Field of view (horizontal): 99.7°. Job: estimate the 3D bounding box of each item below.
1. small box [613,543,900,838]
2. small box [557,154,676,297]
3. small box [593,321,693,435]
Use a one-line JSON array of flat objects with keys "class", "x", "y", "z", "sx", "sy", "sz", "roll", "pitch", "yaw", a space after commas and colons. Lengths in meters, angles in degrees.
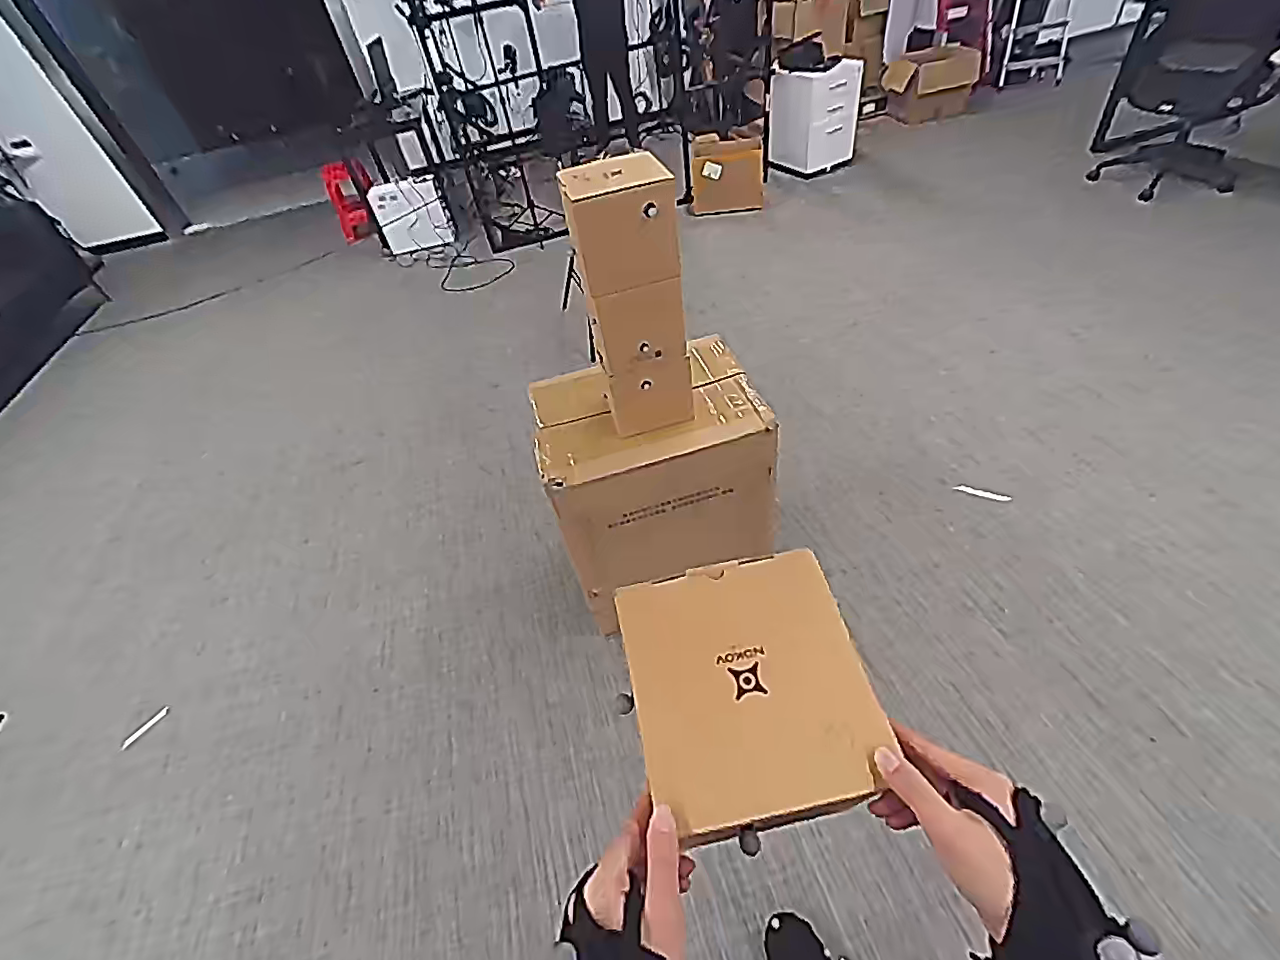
[{"class": "small box", "x": 0.081, "y": 0.182, "z": 0.452, "sx": 0.168, "sy": 0.176, "sz": 0.179, "roll": -12, "pitch": 52, "yaw": -2}, {"class": "small box", "x": -0.037, "y": -0.456, "z": 0.974, "sx": 0.179, "sy": 0.176, "sz": 0.168, "roll": -16, "pitch": 45, "yaw": -4}, {"class": "small box", "x": 0.009, "y": -0.223, "z": 1.203, "sx": 0.179, "sy": 0.176, "sz": 0.168, "roll": -16, "pitch": 45, "yaw": -5}]
